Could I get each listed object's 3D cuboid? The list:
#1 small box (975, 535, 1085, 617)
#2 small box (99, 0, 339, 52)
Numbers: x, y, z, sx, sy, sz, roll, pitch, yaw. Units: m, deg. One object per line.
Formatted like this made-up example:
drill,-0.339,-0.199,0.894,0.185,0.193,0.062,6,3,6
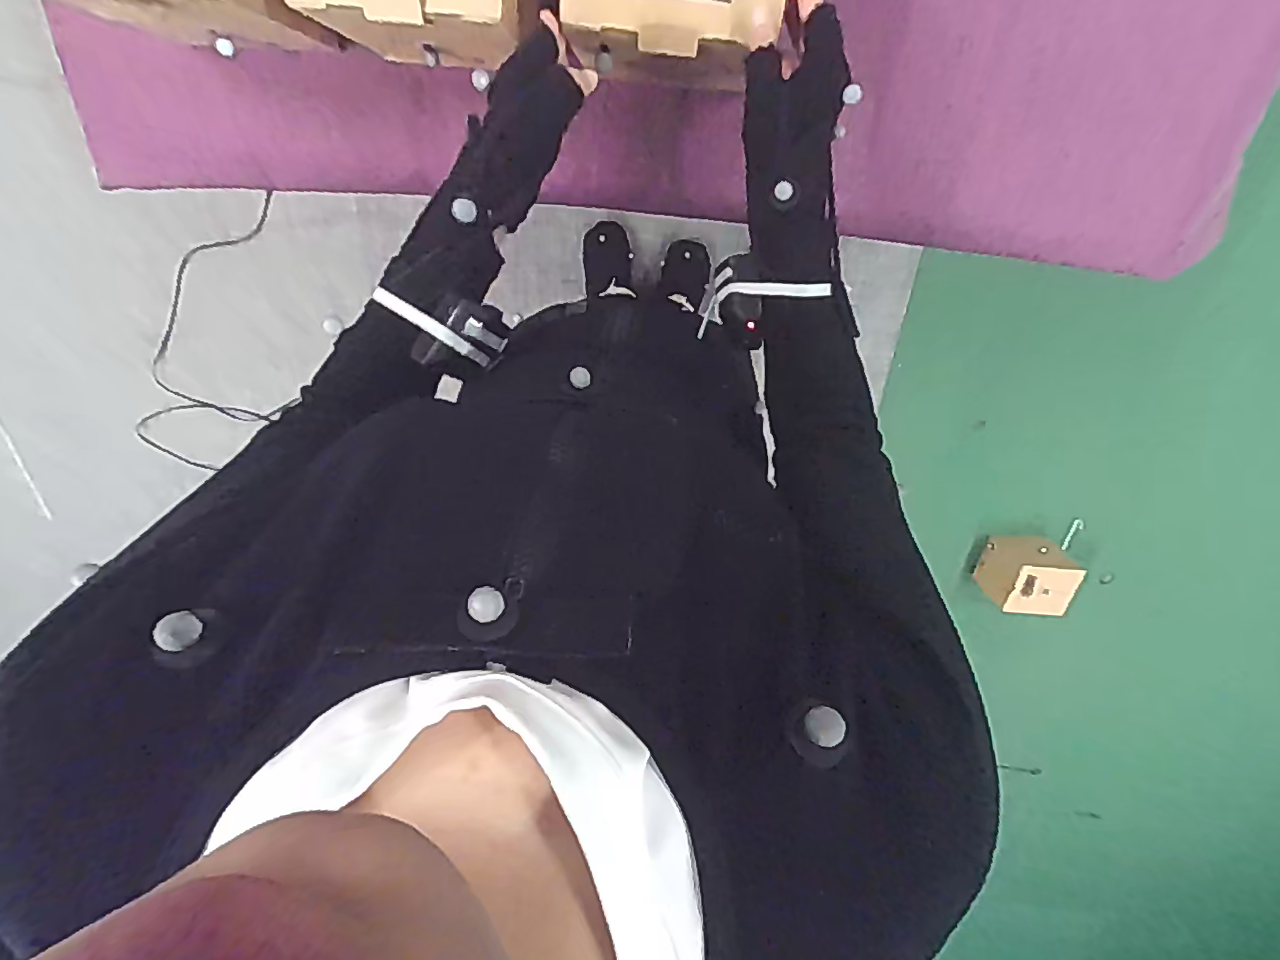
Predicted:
small box,1.121,0.274,1.574,0.179,0.176,0.168,5,118,0
small box,-0.379,-0.483,0.439,0.168,0.176,0.179,4,117,0
